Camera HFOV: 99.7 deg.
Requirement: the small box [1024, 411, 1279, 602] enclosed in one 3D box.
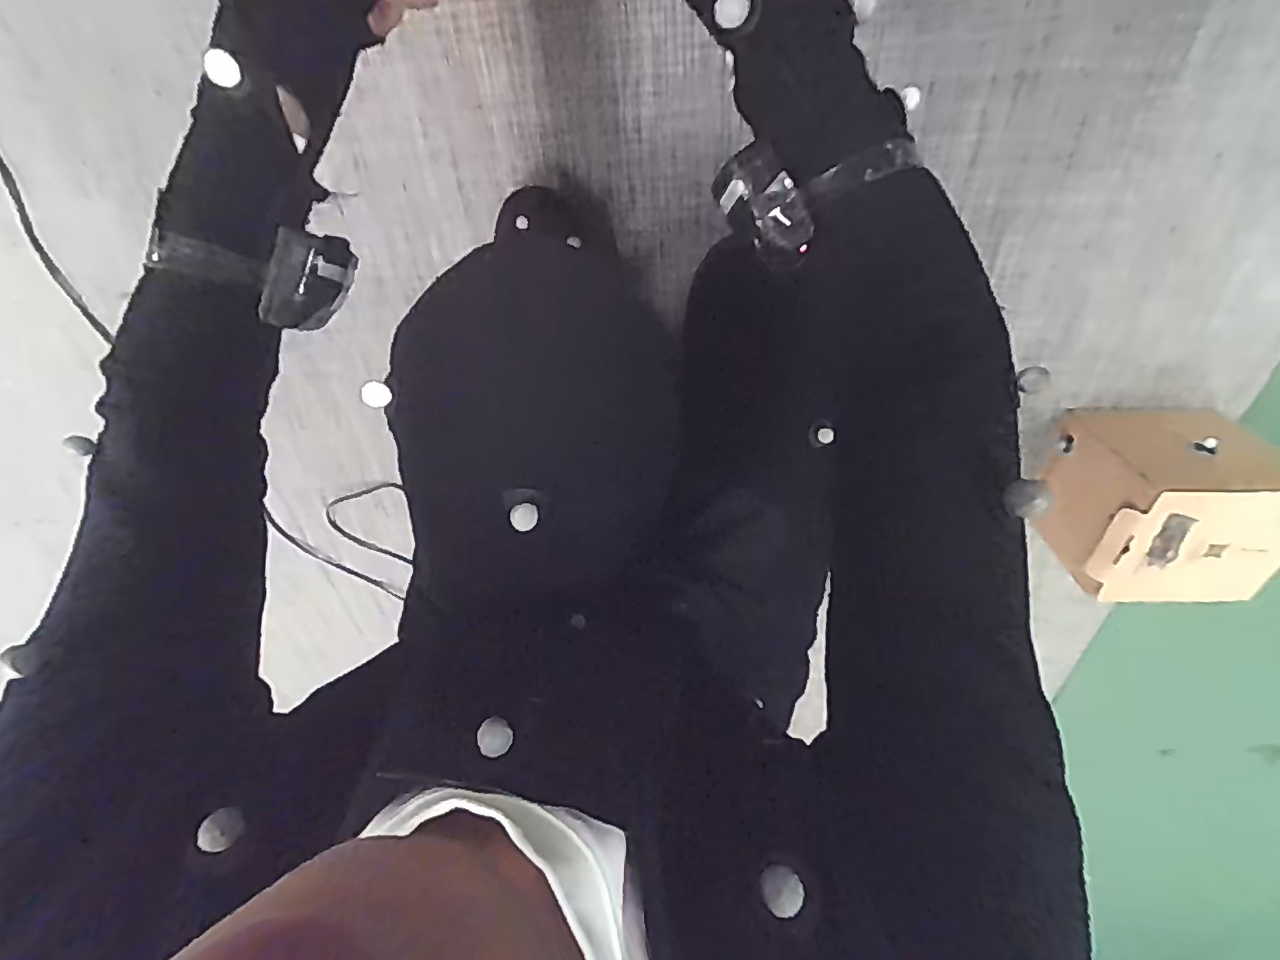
[{"bbox_3d":[0.615,0.026,0.654,0.179,0.176,0.168,0,127,5],"label":"small box"}]
